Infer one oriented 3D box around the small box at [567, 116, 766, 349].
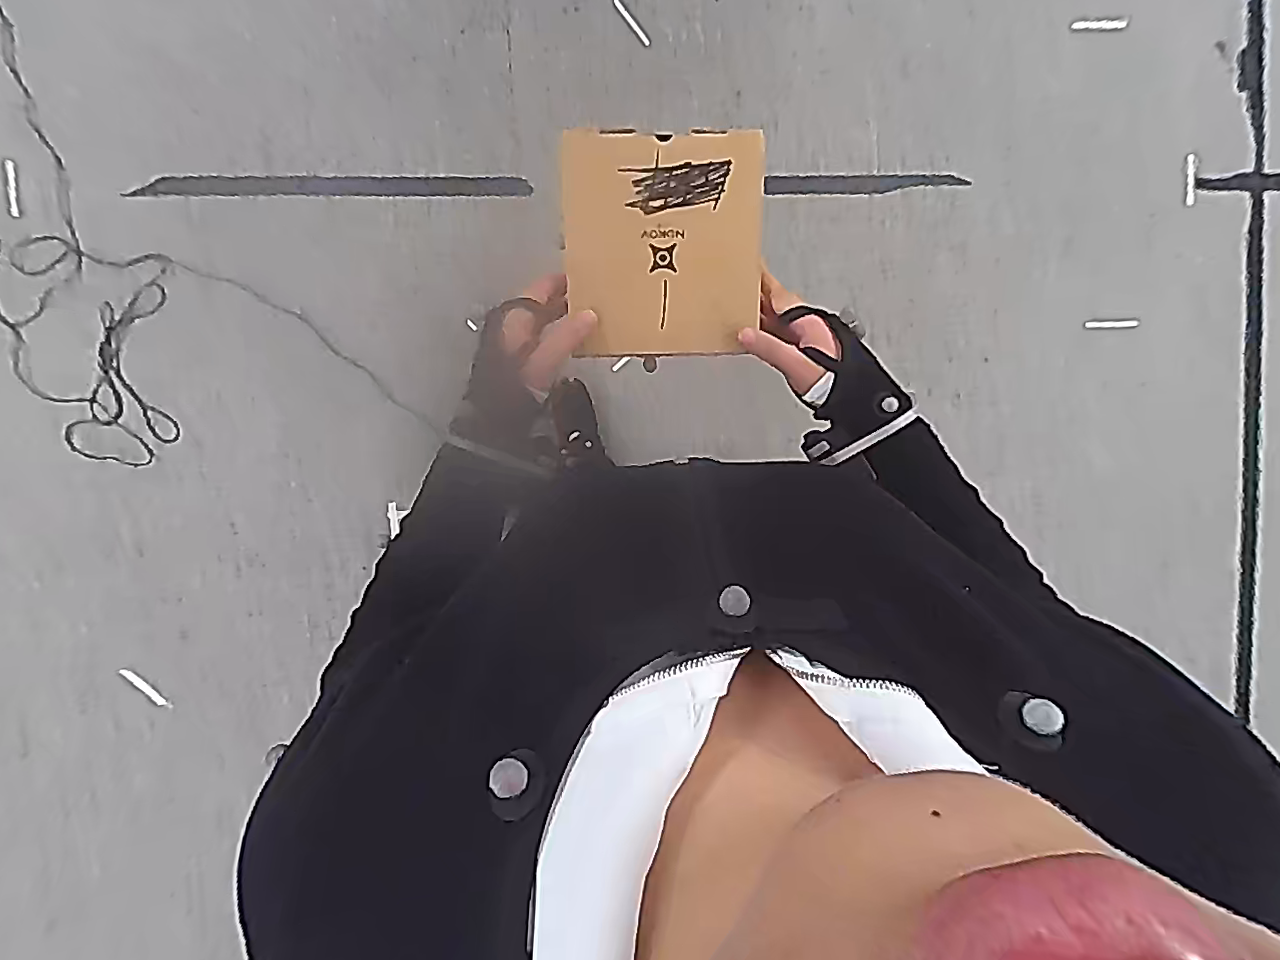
[{"bbox_3d":[0.018,-0.222,0.528,0.168,0.176,0.179,-2,102,-2],"label":"small box"}]
